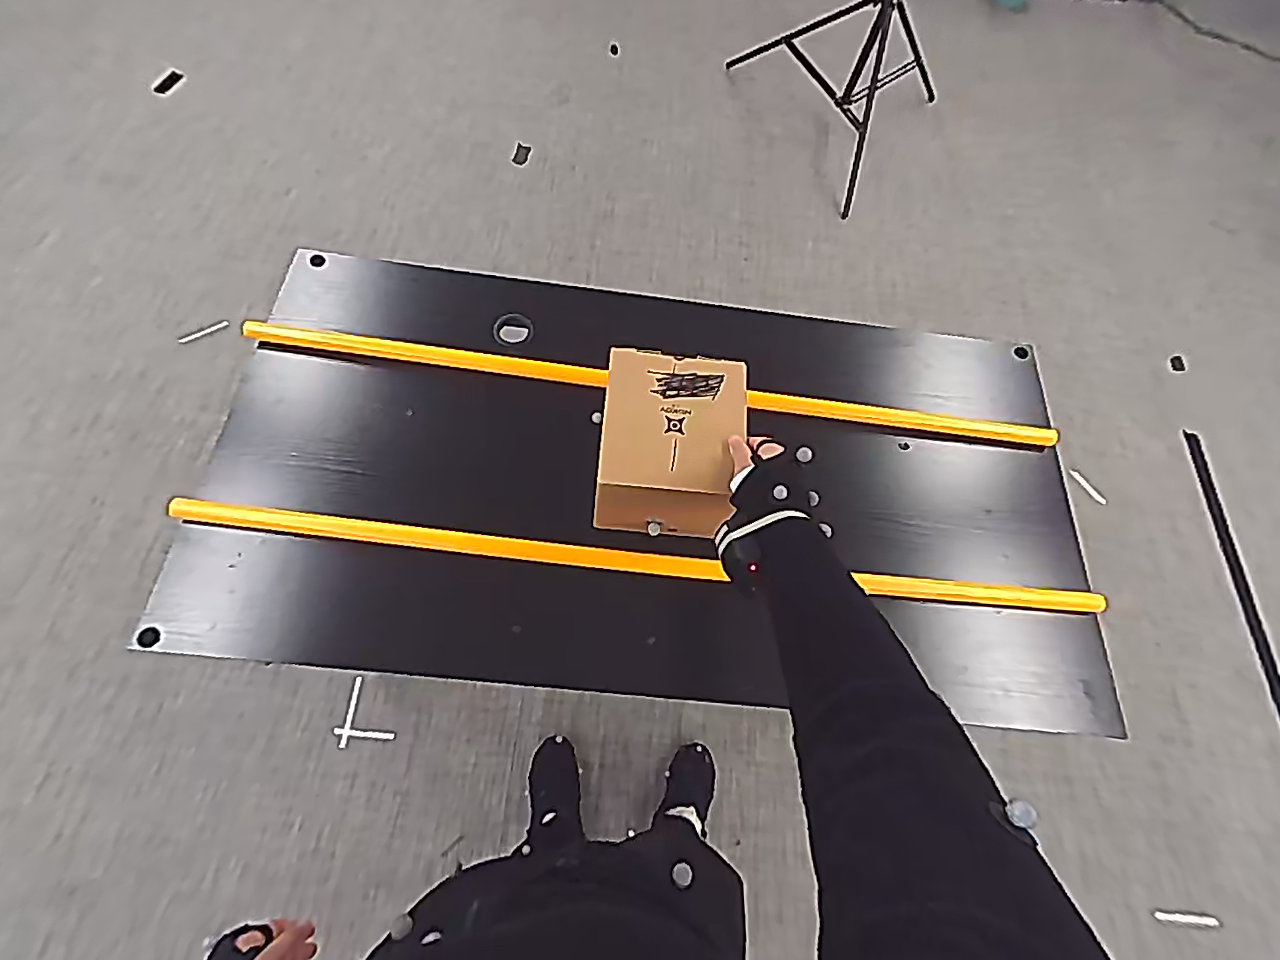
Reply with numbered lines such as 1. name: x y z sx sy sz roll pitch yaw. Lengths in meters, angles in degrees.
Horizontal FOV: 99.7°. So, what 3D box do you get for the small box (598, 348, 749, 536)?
1. small box: 0.036 -0.041 0.691 0.168 0.176 0.179 6 68 -3
